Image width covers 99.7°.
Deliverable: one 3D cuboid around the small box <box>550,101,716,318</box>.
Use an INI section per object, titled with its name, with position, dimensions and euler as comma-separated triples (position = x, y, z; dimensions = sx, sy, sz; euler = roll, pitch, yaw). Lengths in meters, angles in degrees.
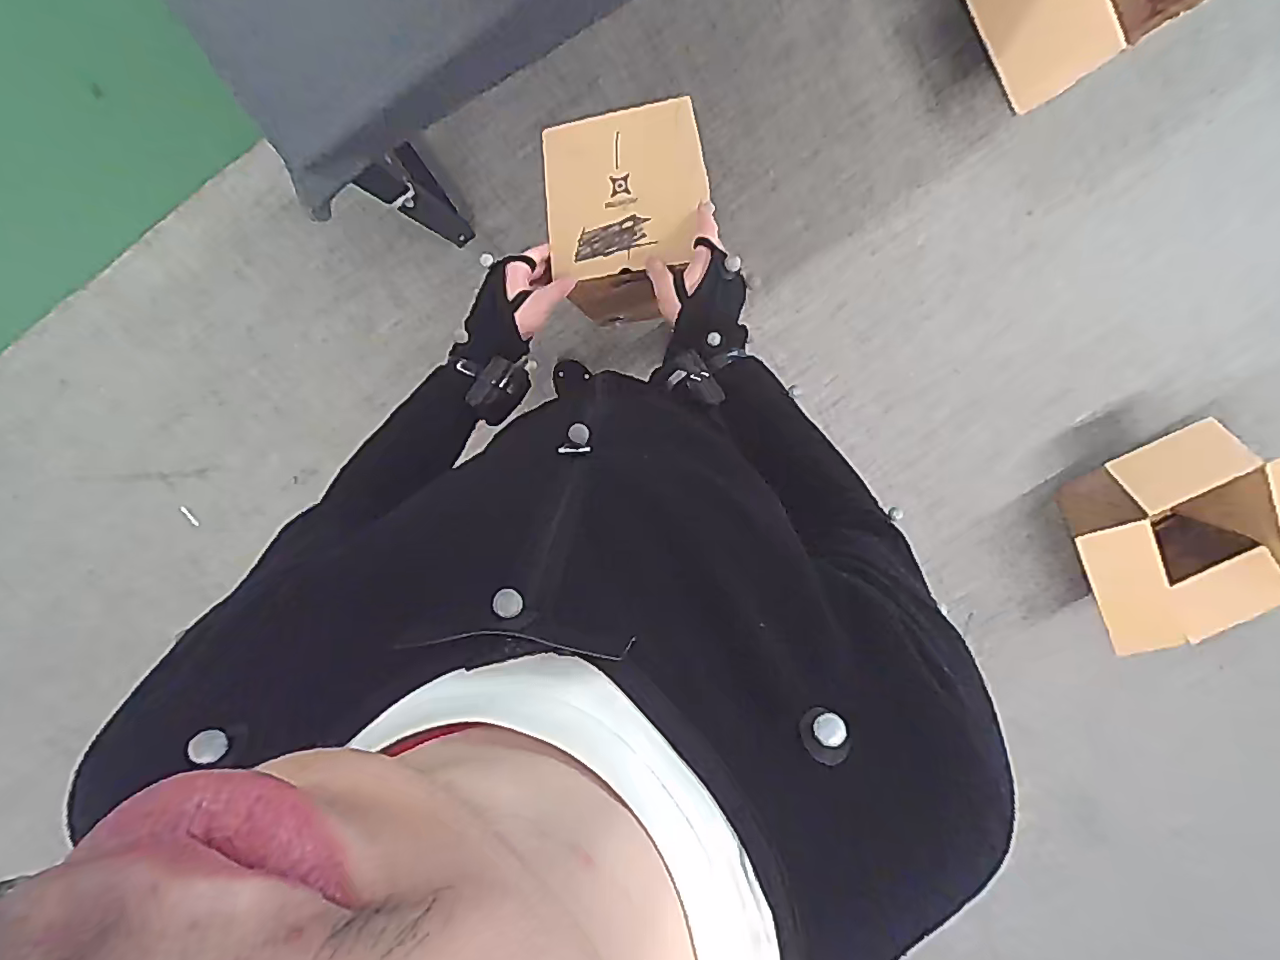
[small box]
position = 0.002, -0.306, 0.658
dimensions = 0.168, 0.176, 0.179
euler = -4, 89, 12
